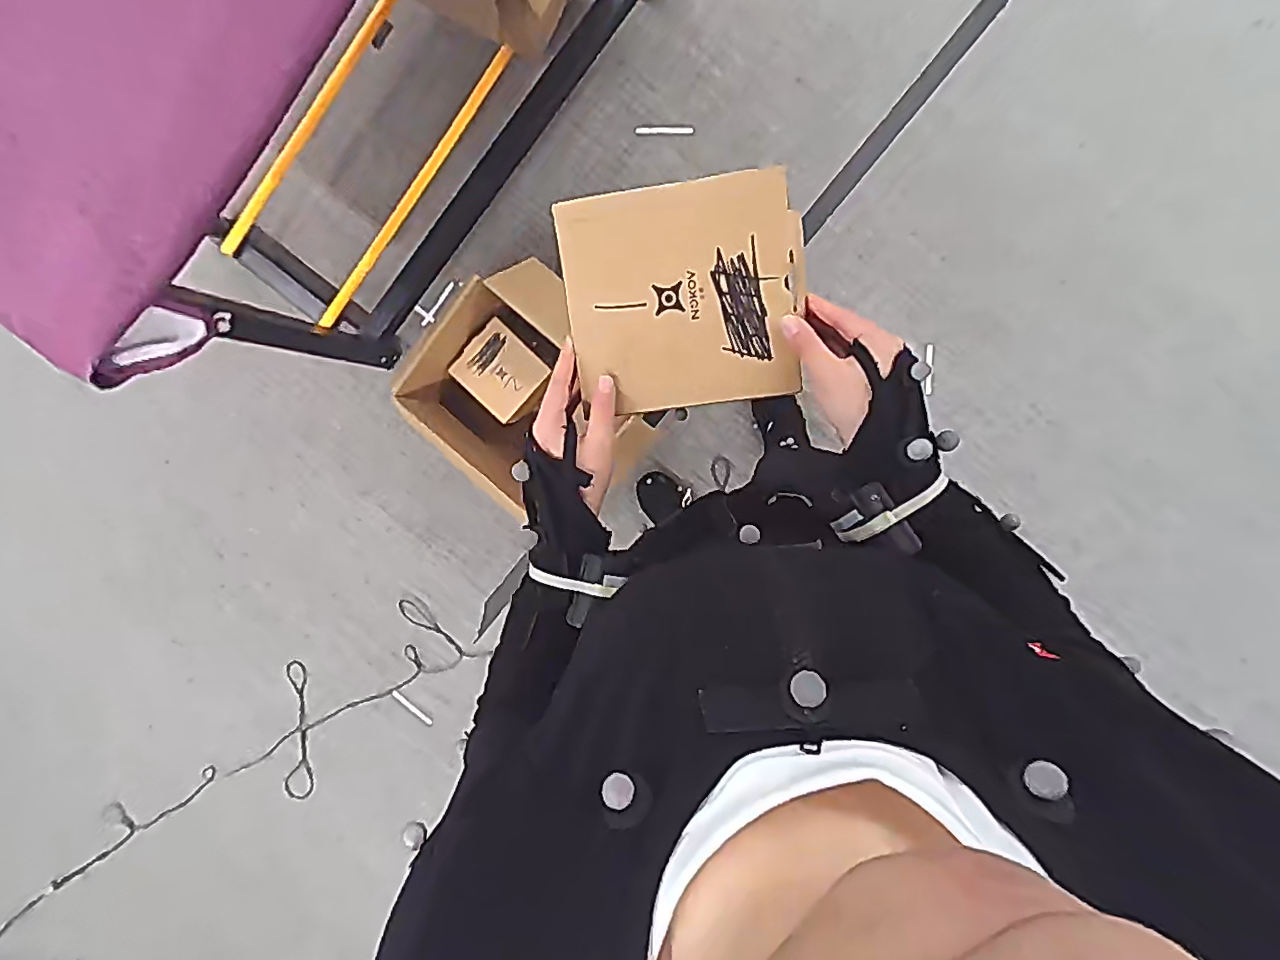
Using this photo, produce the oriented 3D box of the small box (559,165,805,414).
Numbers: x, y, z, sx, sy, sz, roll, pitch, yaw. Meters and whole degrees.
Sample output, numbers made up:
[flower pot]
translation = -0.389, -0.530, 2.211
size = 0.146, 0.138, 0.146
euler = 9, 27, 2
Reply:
[small box]
translation = 0.038, -0.156, 0.489
size = 0.179, 0.176, 0.168
euler = -6, 100, 5
